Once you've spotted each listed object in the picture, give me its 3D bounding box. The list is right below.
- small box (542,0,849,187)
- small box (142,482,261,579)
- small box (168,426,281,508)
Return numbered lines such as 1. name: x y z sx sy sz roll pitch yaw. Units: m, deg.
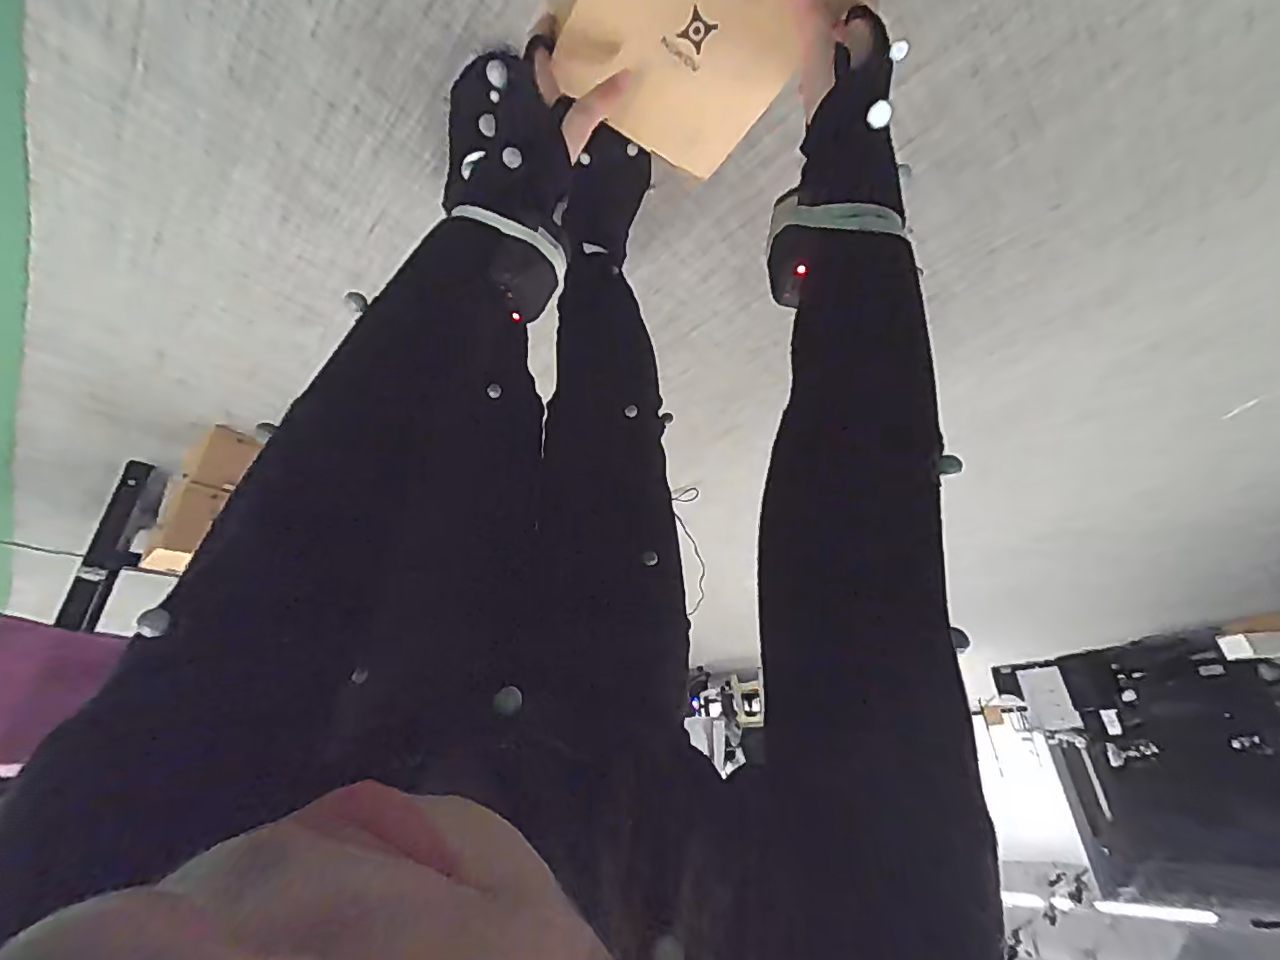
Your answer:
1. small box: 0.036 -0.399 0.444 0.168 0.176 0.179 17 145 -32
2. small box: -1.061 0.124 1.320 0.179 0.176 0.168 -24 144 32
3. small box: -1.070 -0.016 1.406 0.179 0.176 0.168 -20 146 30
